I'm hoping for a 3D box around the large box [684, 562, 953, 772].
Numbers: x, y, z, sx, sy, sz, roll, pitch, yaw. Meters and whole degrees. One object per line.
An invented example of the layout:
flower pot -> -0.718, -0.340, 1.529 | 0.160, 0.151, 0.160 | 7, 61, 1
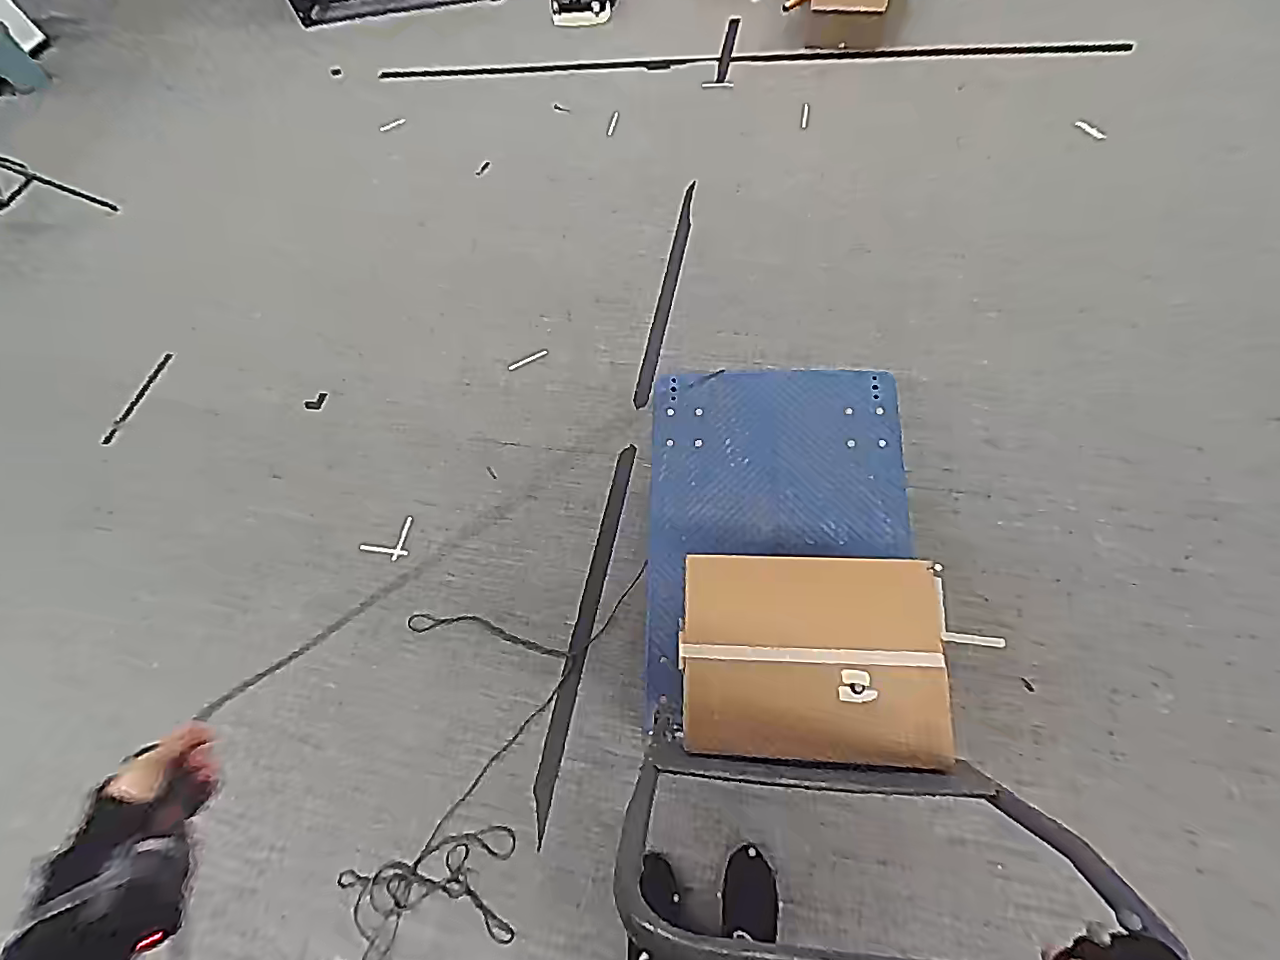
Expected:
large box -> 0.285, 0.330, 1.002 | 0.408, 0.320, 0.320 | 0, 75, 6
